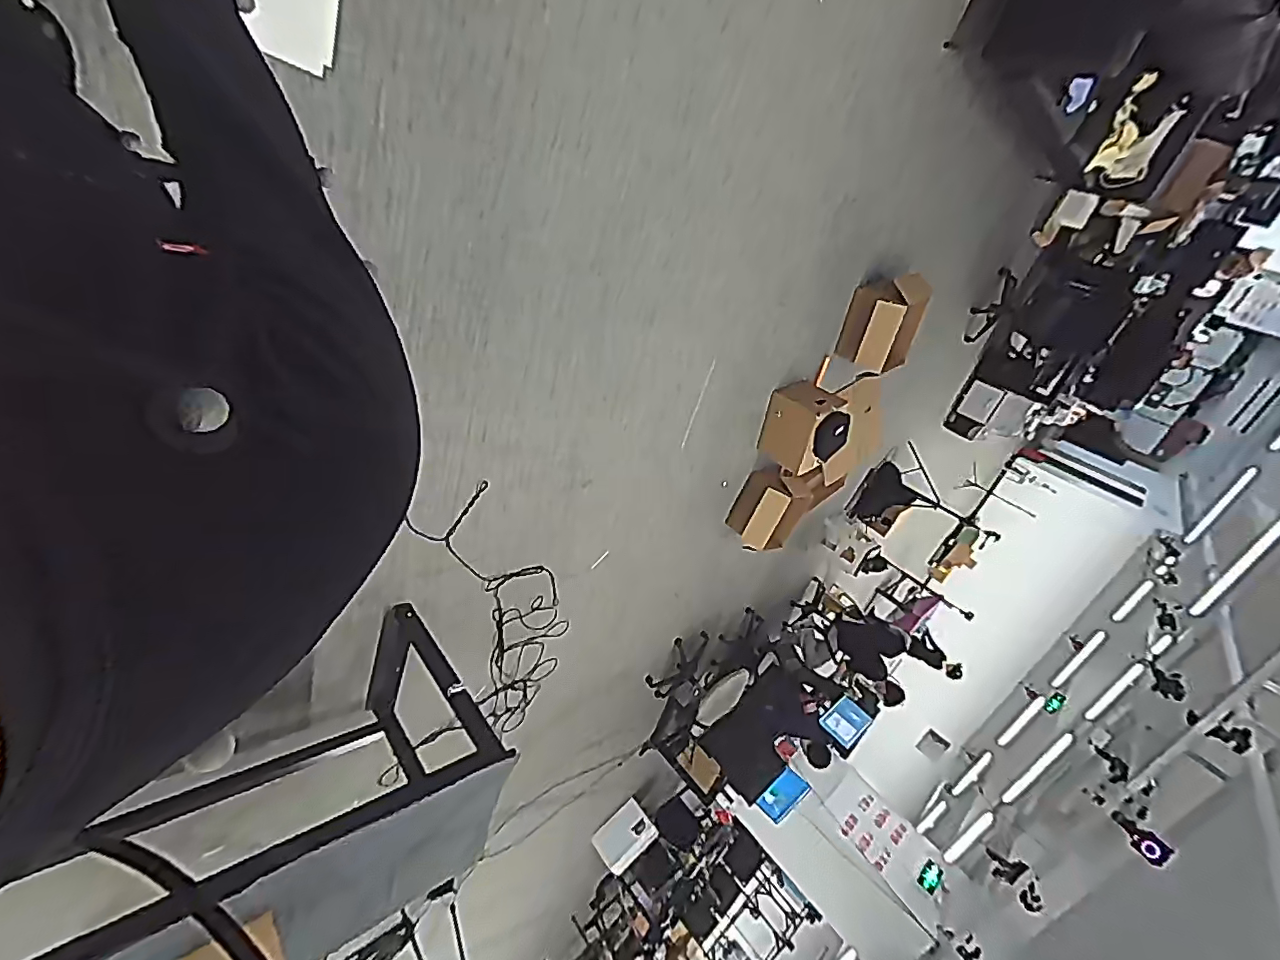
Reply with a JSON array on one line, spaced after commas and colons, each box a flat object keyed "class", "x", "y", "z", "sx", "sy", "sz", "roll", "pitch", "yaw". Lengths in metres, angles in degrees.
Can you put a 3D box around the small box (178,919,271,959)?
[{"class": "small box", "x": -0.900, "y": 1.104, "z": 1.156, "sx": 0.179, "sy": 0.176, "sz": 0.168, "roll": -2, "pitch": 123, "yaw": -48}]
